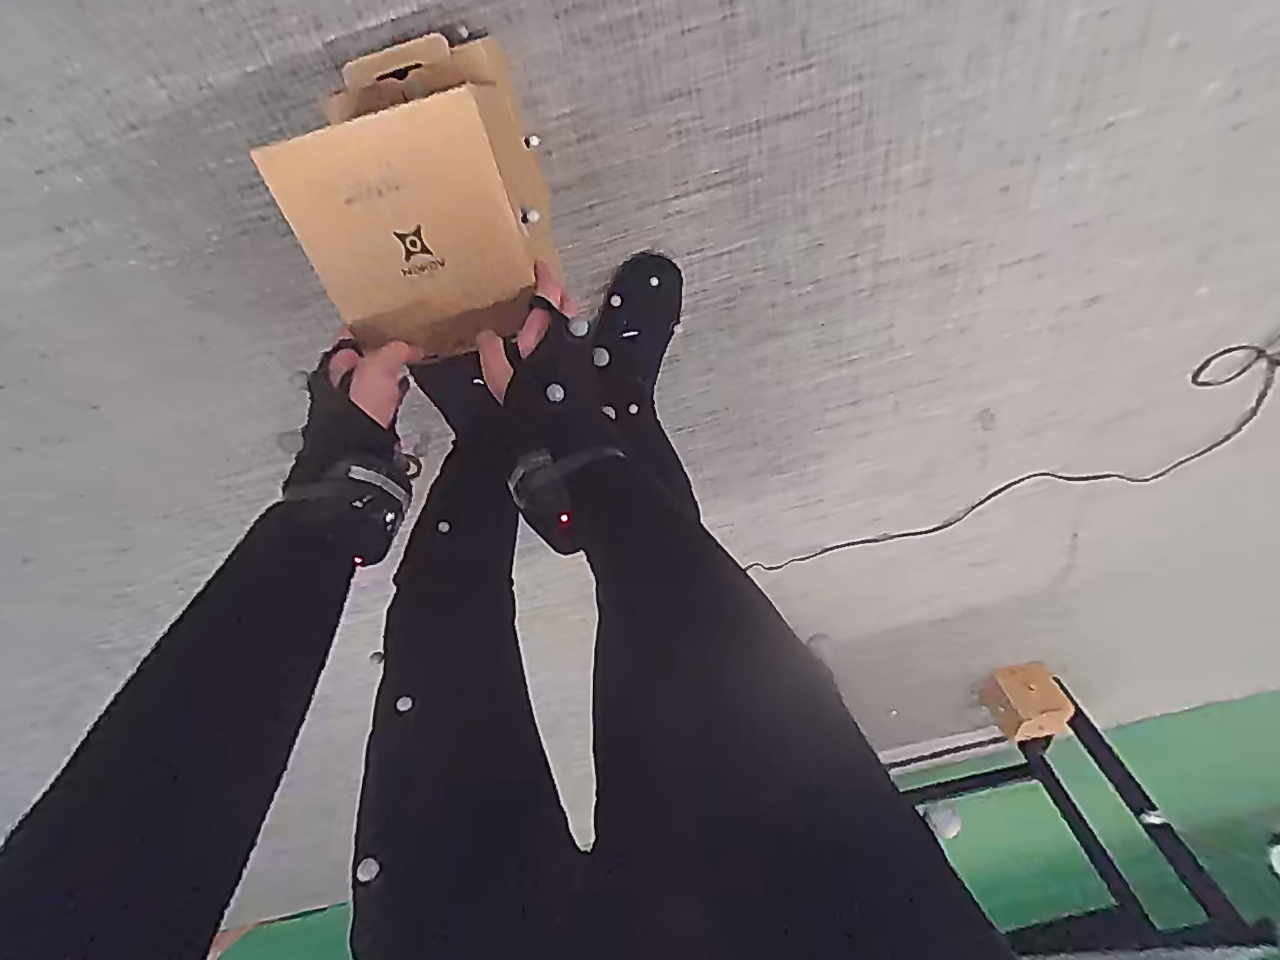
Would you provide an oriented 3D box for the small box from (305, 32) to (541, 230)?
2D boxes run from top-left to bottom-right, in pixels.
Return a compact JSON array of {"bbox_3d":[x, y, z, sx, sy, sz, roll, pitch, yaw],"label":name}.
[{"bbox_3d":[-0.218,-0.363,0.597,0.168,0.176,0.179,-16,132,4],"label":"small box"}]

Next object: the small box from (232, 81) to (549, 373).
[{"bbox_3d":[-0.186,-0.223,0.474,0.168,0.176,0.179,-14,124,4],"label":"small box"}]
